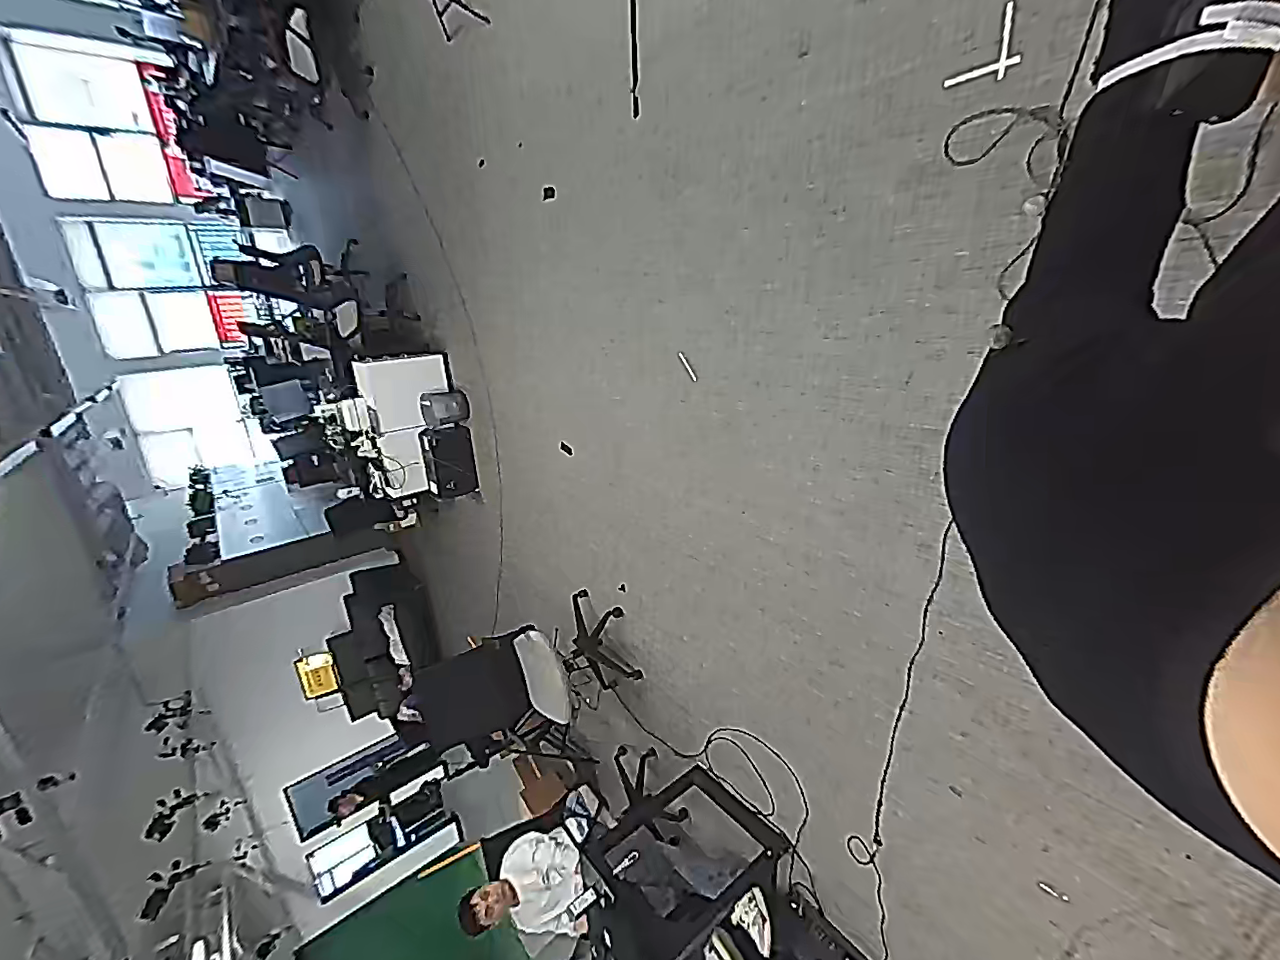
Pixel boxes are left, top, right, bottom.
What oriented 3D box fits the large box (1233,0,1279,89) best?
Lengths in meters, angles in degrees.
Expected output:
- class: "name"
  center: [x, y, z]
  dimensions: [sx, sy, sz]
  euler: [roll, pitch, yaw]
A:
- class: "large box"
  center: [0.611, -0.445, 0.247]
  dimensions: [0.408, 0.320, 0.320]
  euler: [18, 120, 48]
